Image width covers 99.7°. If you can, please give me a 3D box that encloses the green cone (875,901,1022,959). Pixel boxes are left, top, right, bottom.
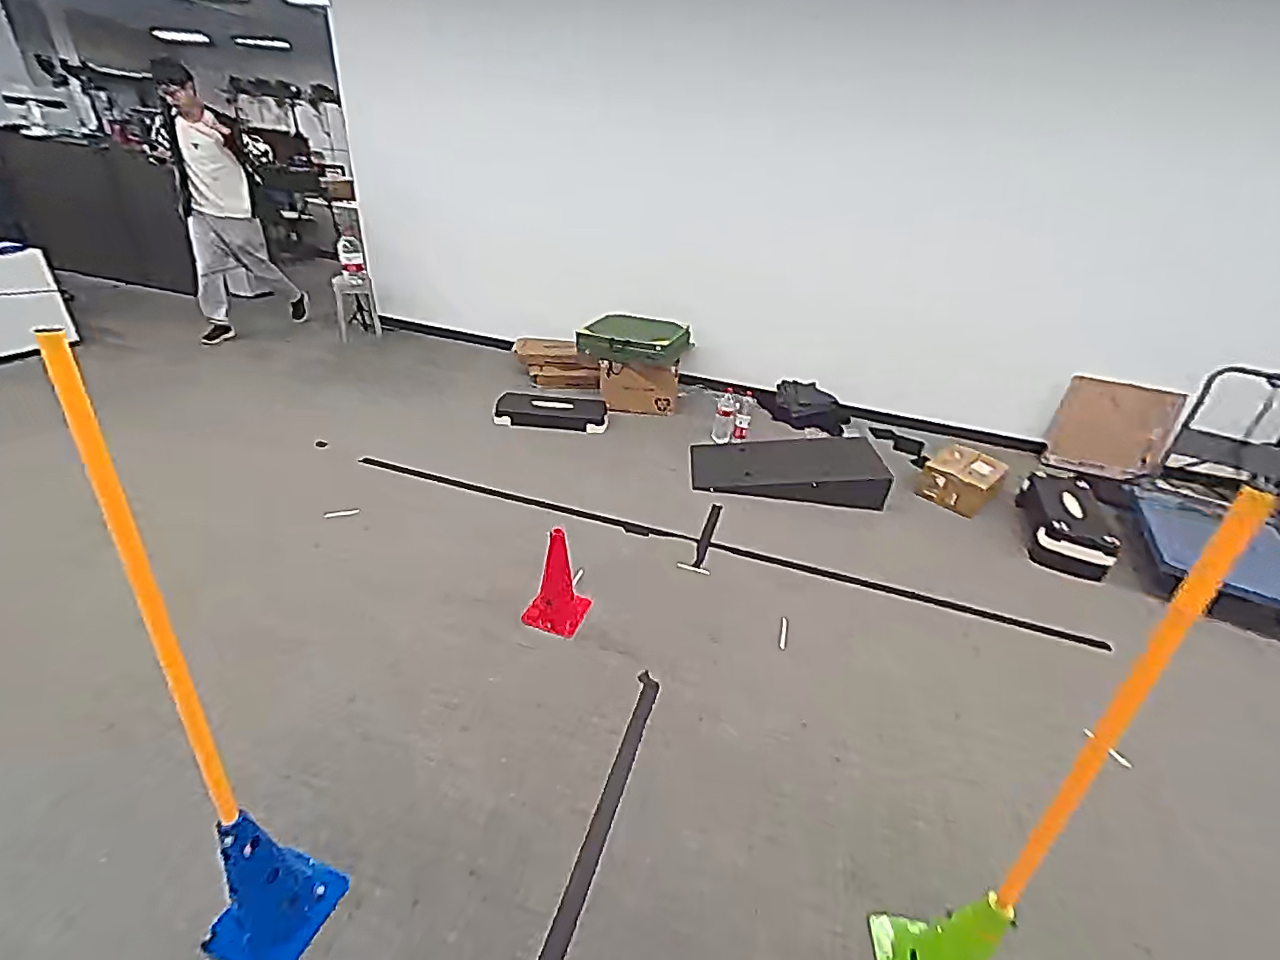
[{"bbox_3d":[0.621,0.899,1.034,0.200,0.368,0.202,8,32,3],"label":"green cone"}]

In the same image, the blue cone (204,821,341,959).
[{"bbox_3d":[-0.738,0.762,1.037,0.193,0.380,0.192,15,32,15],"label":"blue cone"}]
